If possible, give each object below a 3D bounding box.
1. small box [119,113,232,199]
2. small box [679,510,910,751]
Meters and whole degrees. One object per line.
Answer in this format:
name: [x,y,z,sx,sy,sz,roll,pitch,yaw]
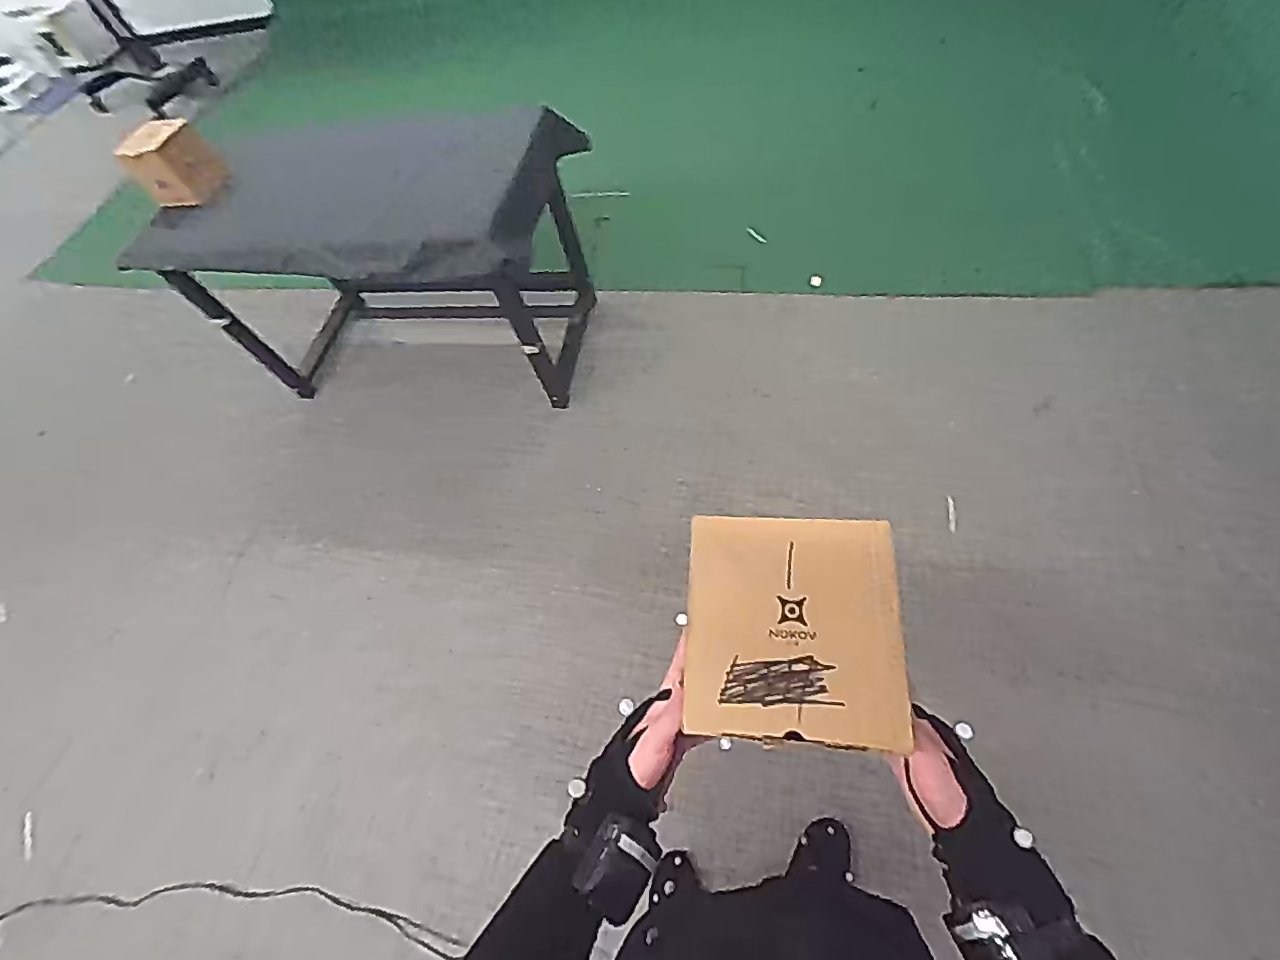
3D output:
small box: [-1.426,-0.995,1.674,0.168,0.176,0.179,5,63,12]
small box: [0.129,0.139,0.494,0.168,0.176,0.179,1,66,10]
